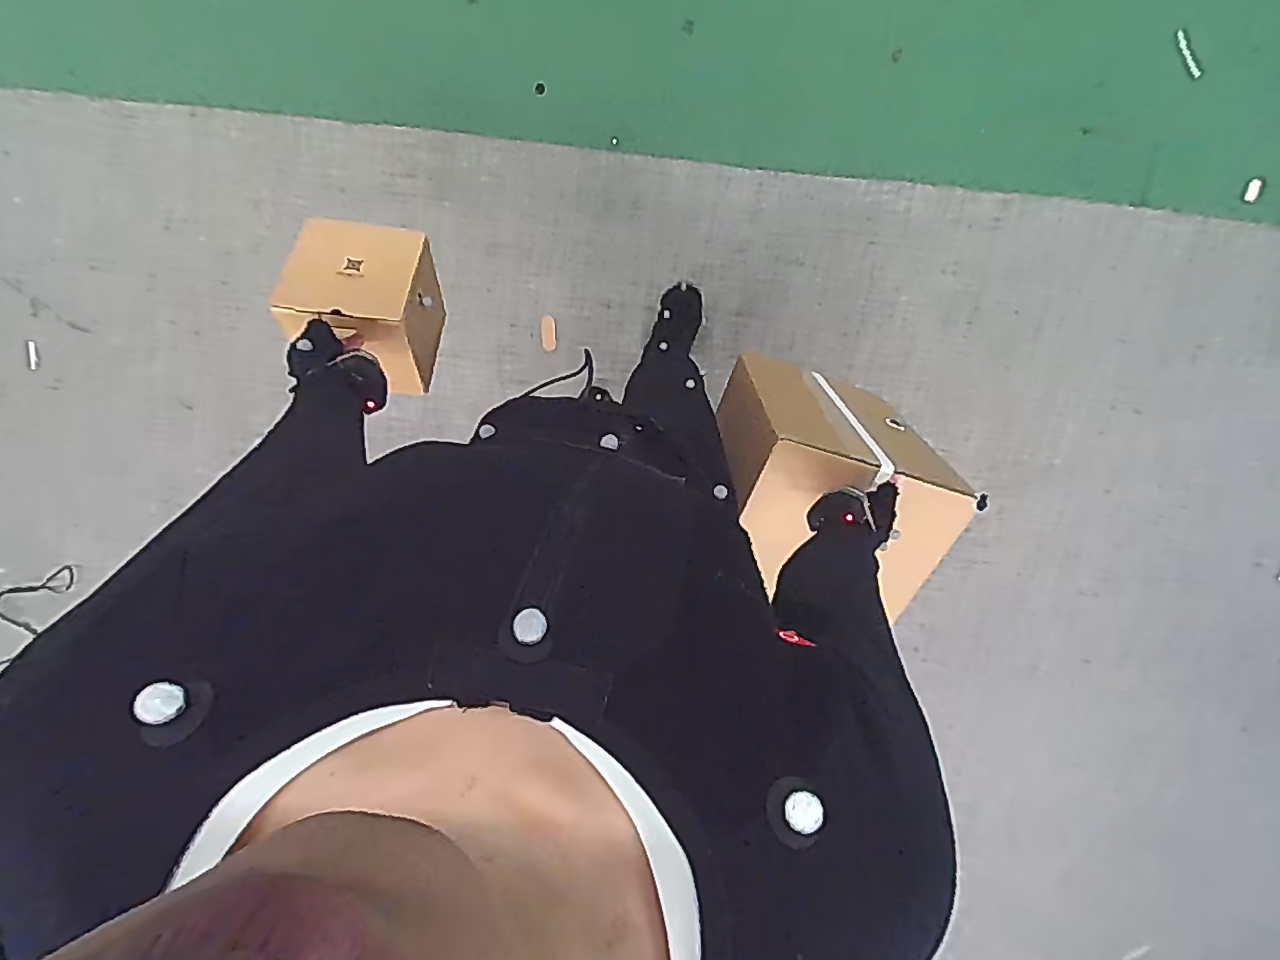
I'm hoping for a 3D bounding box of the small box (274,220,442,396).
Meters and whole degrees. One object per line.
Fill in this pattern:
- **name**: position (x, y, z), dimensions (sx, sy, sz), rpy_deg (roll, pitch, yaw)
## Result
- **small box**: position (-0.407, -0.254, 0.819), dimensions (0.168, 0.176, 0.179), rpy_deg (5, 64, -8)
